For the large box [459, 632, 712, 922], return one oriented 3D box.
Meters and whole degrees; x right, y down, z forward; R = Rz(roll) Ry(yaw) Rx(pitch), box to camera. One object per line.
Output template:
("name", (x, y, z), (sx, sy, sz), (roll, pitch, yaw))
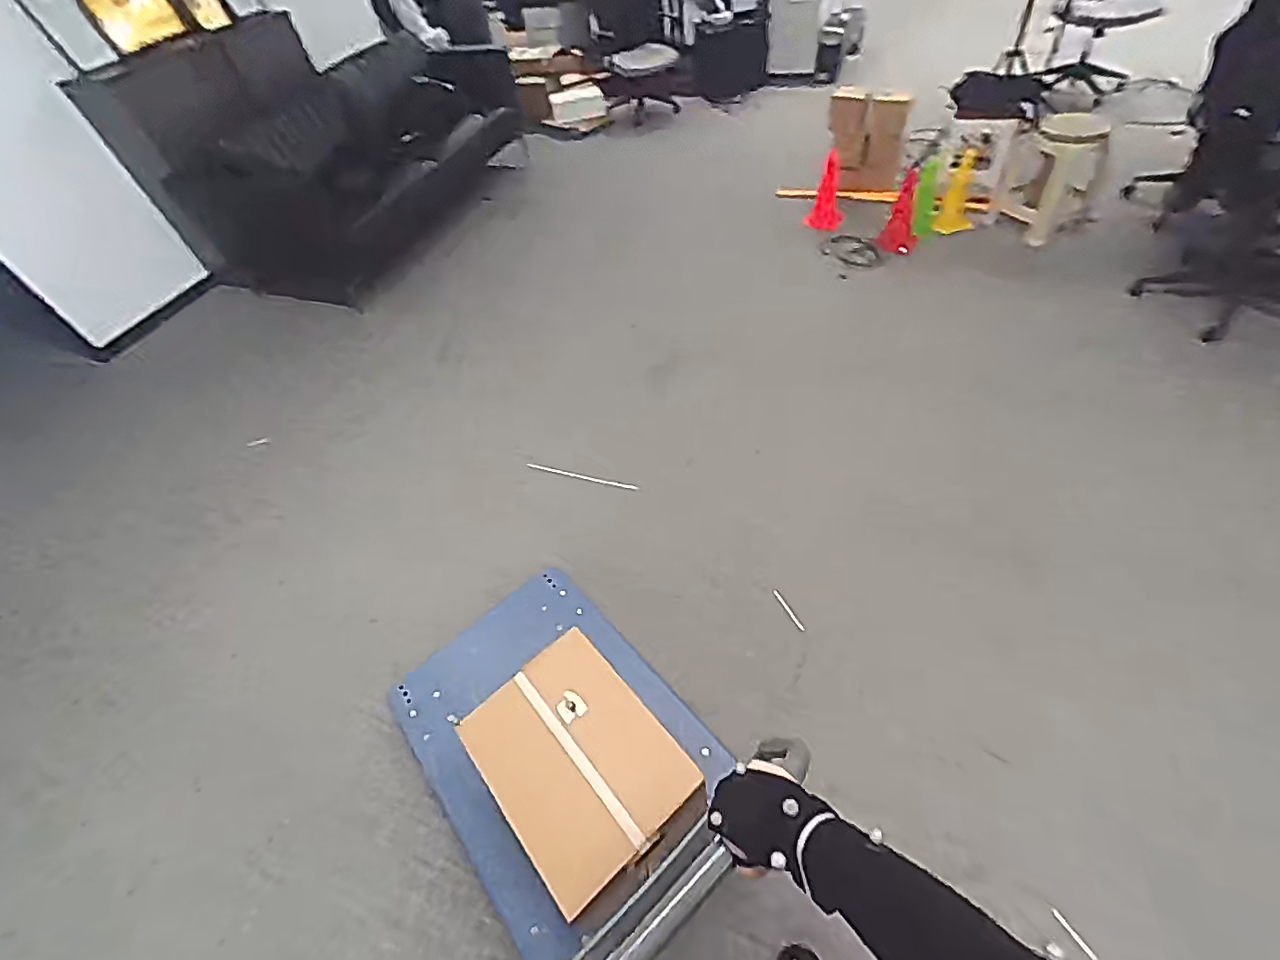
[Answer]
("large box", (-0.099, 0.614, 1.137), (0.320, 0.320, 0.408), (-37, 54, -21))
